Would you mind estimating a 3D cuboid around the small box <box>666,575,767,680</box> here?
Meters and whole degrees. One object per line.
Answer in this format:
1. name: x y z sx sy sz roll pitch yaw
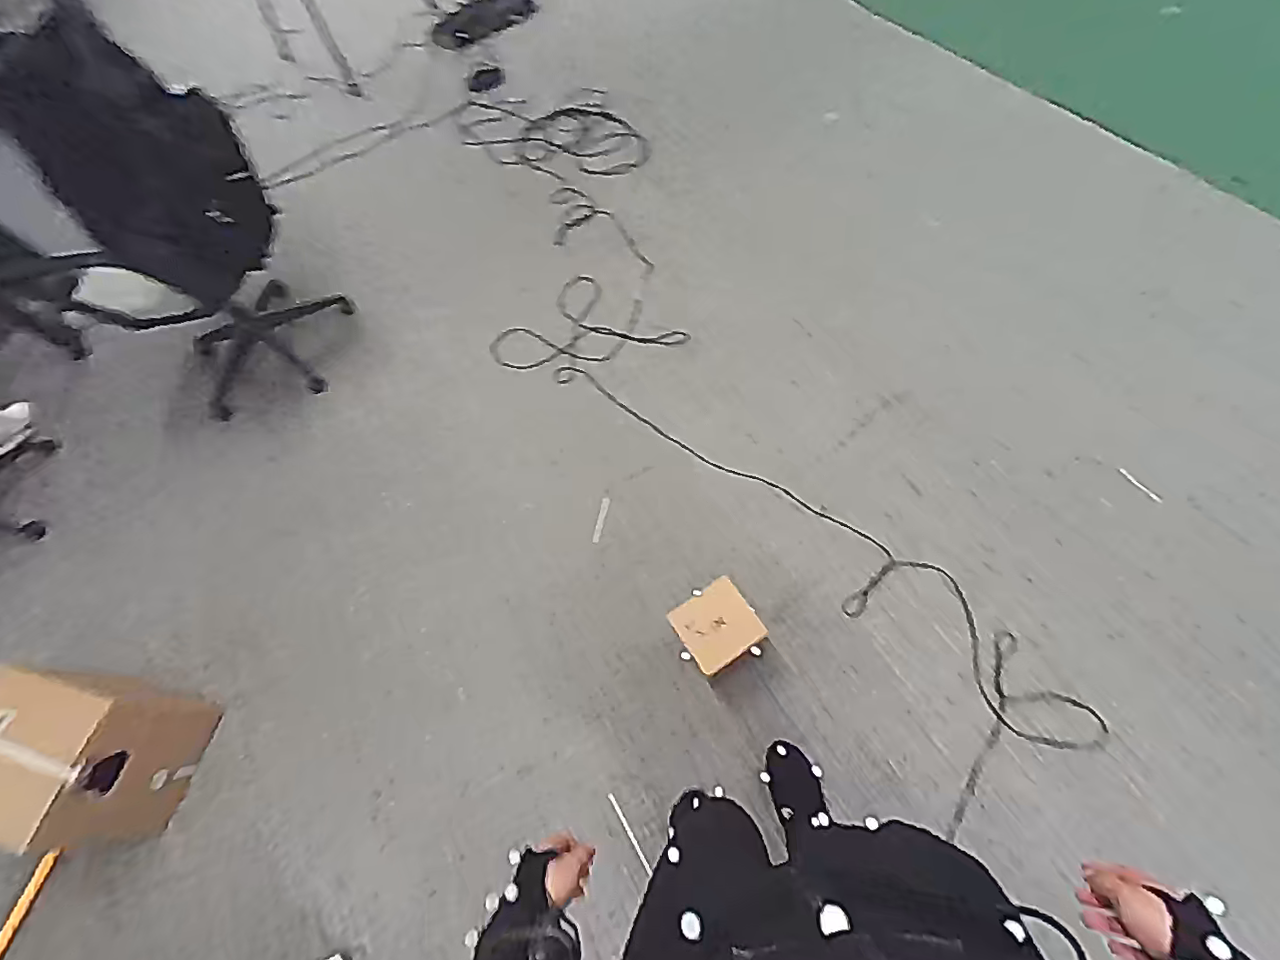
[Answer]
1. small box: 0.184 0.363 1.311 0.179 0.176 0.168 -34 64 -7
